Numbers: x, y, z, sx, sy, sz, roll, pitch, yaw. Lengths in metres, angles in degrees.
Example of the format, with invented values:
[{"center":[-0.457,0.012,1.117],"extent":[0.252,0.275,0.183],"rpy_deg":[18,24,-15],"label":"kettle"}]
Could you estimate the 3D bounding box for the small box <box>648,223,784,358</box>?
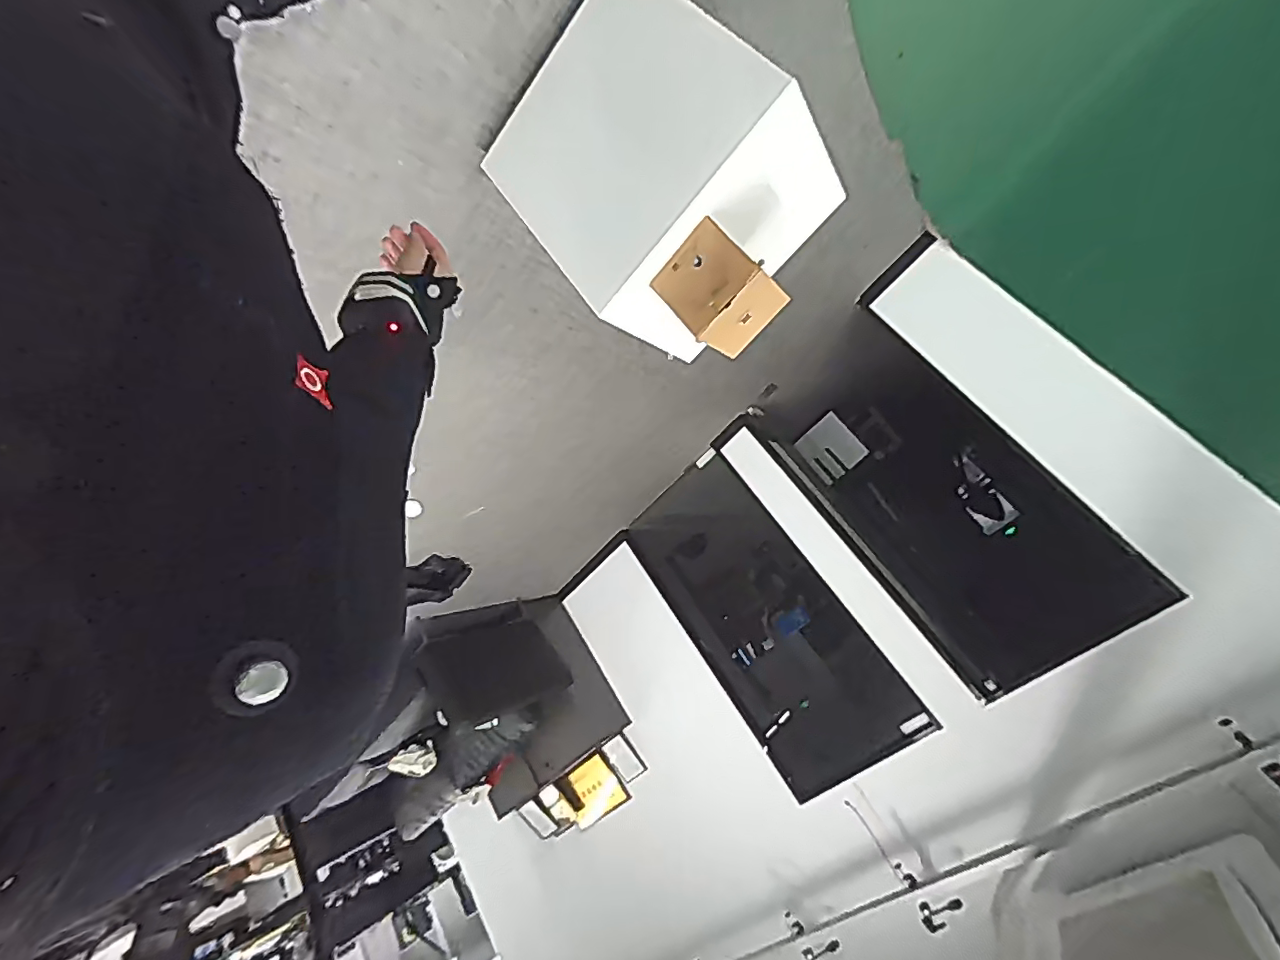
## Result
[{"center":[0.151,-0.375,1.082],"extent":[0.168,0.176,0.179],"rpy_deg":[-45,156,24],"label":"small box"}]
